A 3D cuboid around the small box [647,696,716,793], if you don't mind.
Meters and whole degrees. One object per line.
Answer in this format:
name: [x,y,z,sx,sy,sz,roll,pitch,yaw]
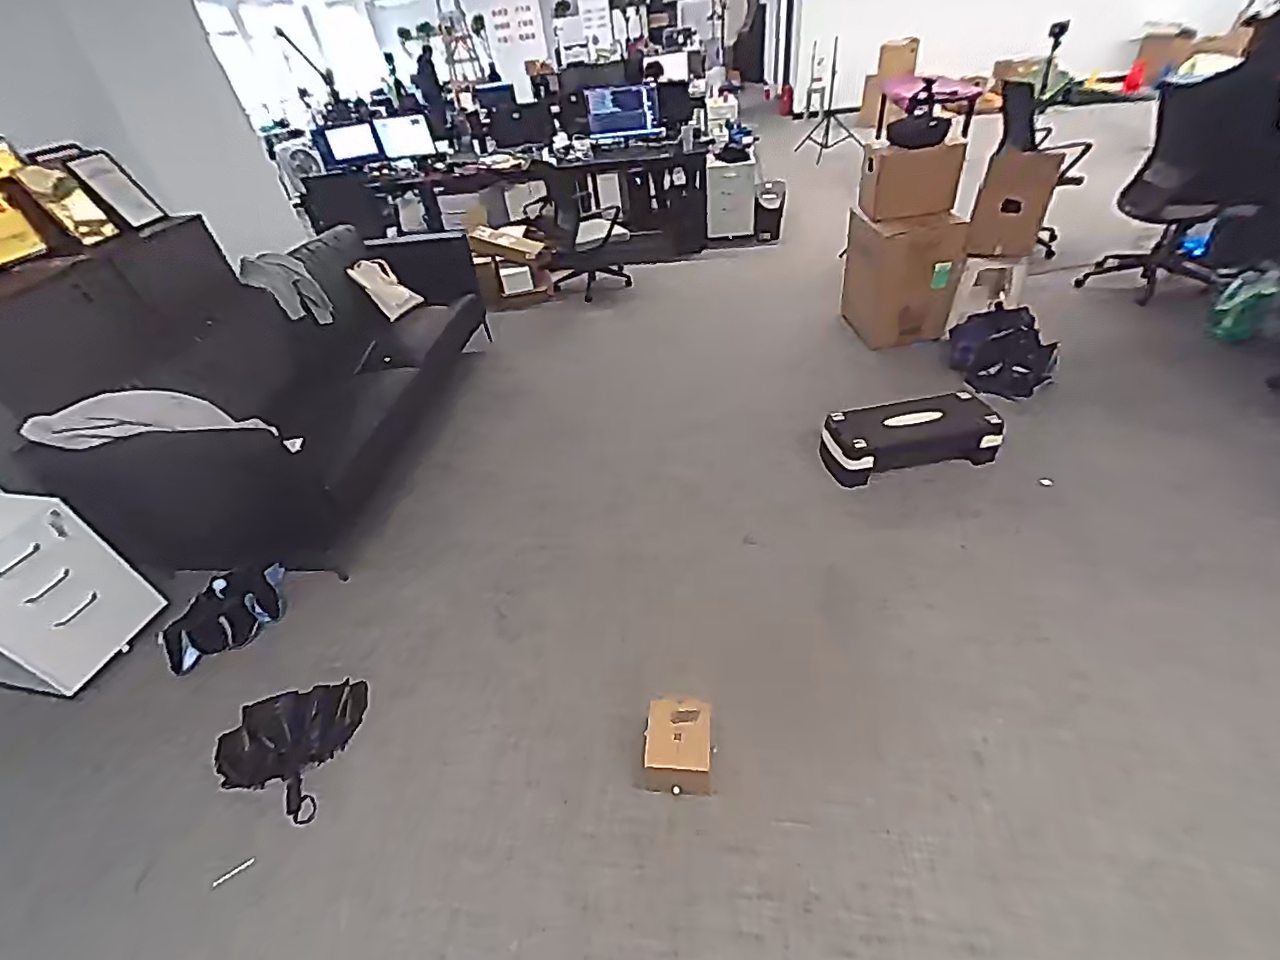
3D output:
small box: [0.116,0.708,1.451,0.168,0.176,0.179,-1,41,10]
